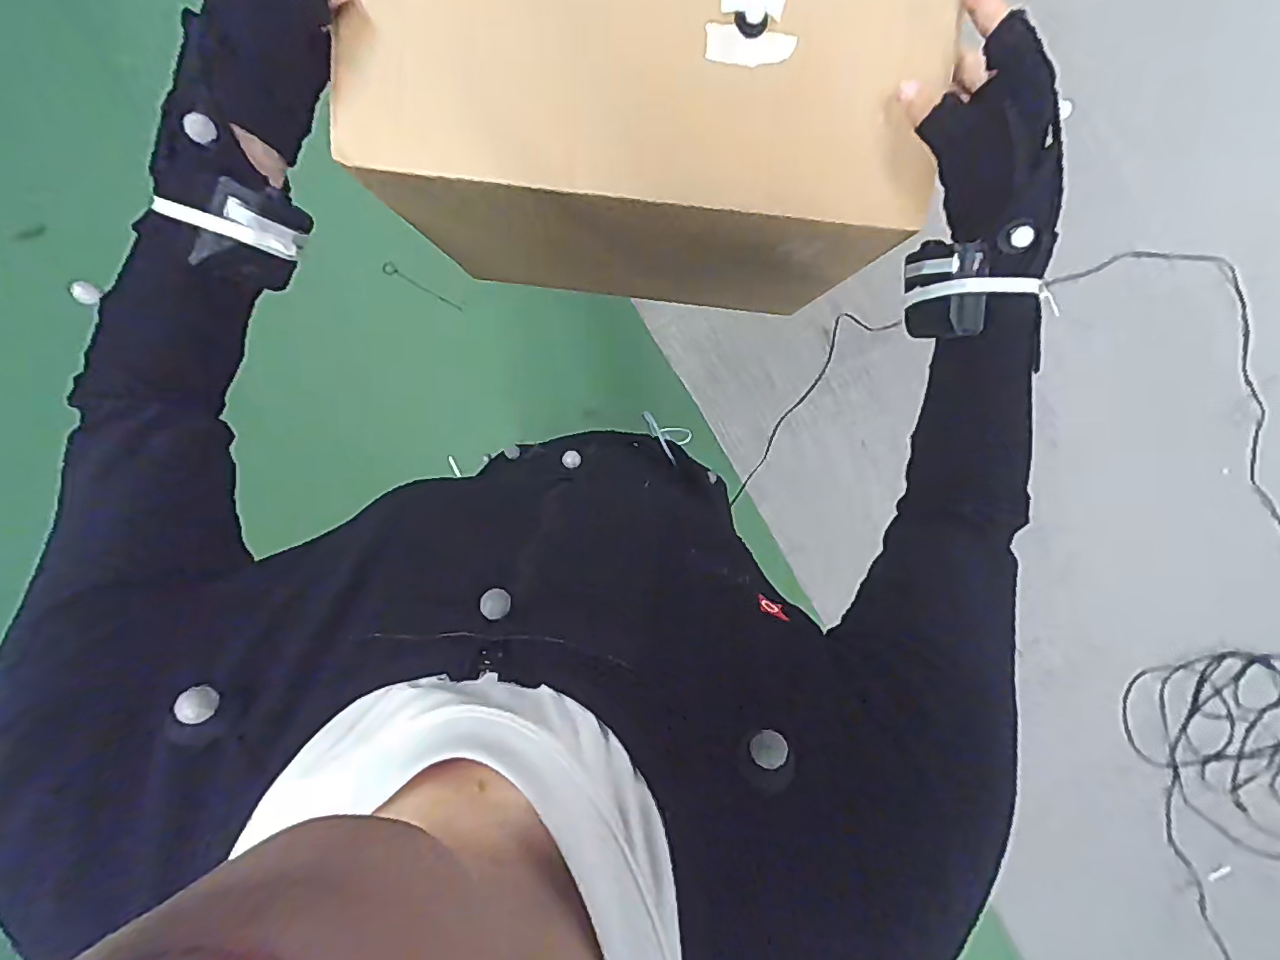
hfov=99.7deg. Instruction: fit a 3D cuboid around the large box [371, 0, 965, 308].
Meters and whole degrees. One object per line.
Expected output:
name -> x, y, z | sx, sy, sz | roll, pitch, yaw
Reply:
large box -> 0.020, -0.366, 0.509 | 0.408, 0.320, 0.320 | 6, 97, -2
